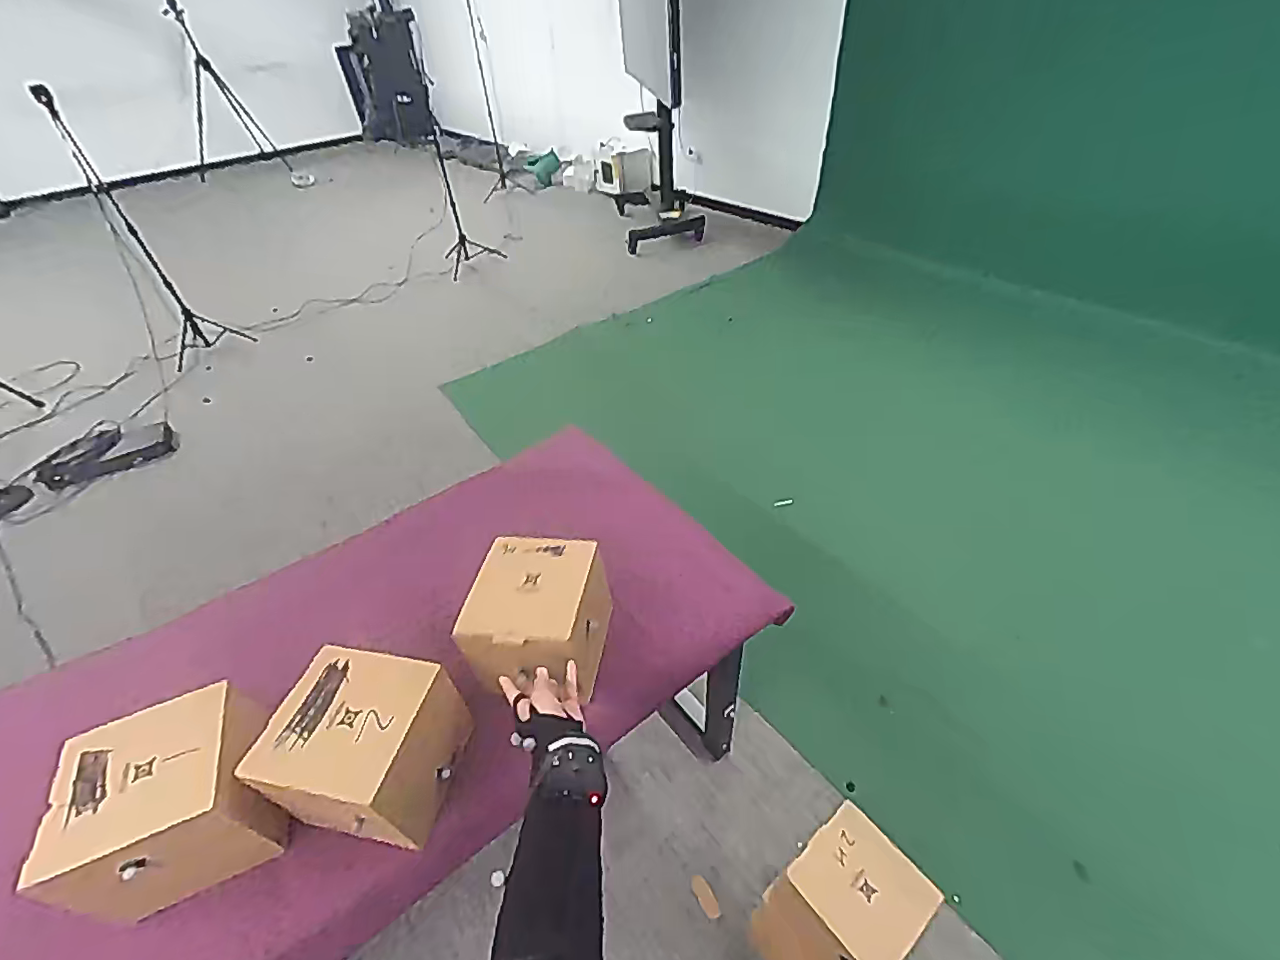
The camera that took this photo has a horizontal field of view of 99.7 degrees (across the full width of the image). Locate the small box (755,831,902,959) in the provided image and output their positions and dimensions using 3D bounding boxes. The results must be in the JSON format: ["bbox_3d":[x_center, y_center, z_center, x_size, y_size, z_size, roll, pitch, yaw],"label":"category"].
[{"bbox_3d":[0.330,0.795,0.982,0.168,0.176,0.179,-30,50,-26],"label":"small box"}]

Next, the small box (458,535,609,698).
[{"bbox_3d":[-0.146,0.208,0.820,0.168,0.176,0.179,3,42,9],"label":"small box"}]

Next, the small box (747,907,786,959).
[{"bbox_3d":[0.332,0.916,1.091,0.179,0.176,0.168,-28,48,-25],"label":"small box"}]

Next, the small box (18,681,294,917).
[{"bbox_3d":[-0.560,0.389,0.660,0.179,0.176,0.168,-19,45,-17],"label":"small box"}]
